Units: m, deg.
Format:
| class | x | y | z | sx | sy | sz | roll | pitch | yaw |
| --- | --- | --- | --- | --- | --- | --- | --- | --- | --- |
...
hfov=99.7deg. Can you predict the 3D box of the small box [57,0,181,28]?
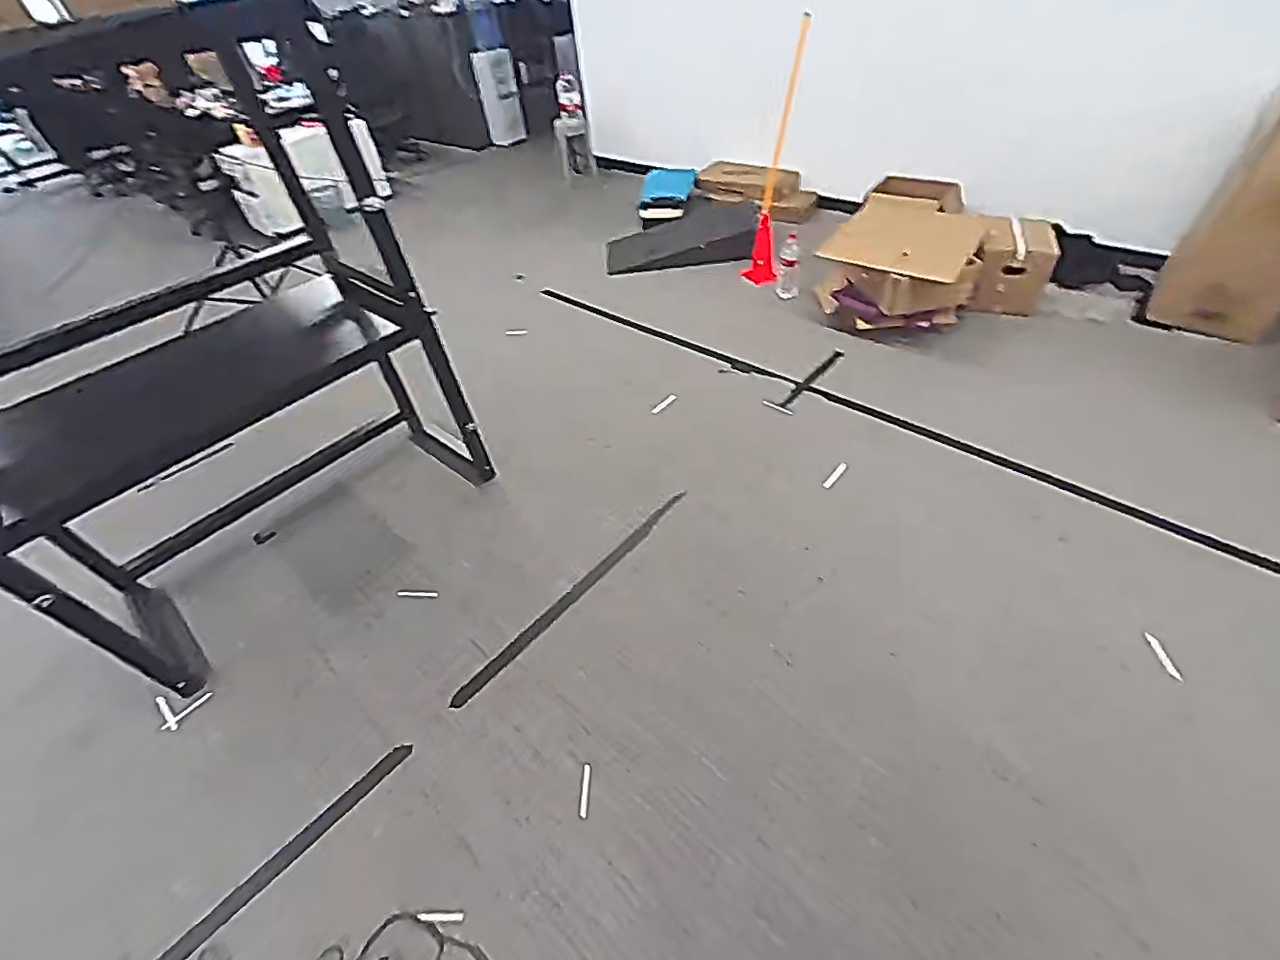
| class | x | y | z | sx | sy | sz | roll | pitch | yaw |
| --- | --- | --- | --- | --- | --- | --- | --- | --- | --- |
| small box | -1.016 | -0.964 | 1.008 | 0.179 | 0.176 | 0.168 | 31 | 58 | 32 |
